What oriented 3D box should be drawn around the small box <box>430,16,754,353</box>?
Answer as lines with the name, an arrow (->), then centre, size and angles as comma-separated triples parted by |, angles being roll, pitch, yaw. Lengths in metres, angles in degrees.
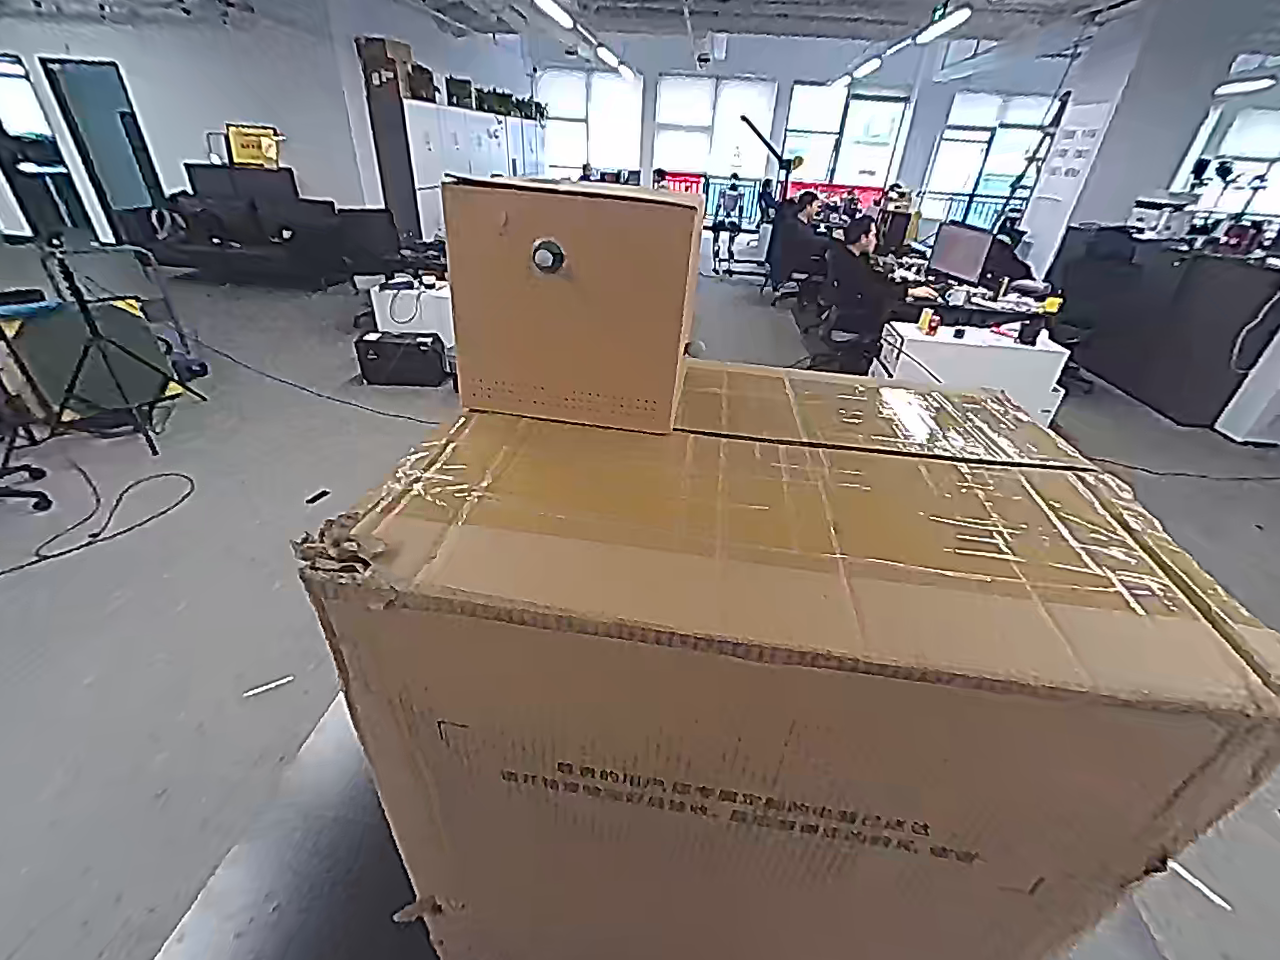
small box -> -0.022, -0.197, 0.386 | 0.179, 0.176, 0.168 | 8, 30, 4
